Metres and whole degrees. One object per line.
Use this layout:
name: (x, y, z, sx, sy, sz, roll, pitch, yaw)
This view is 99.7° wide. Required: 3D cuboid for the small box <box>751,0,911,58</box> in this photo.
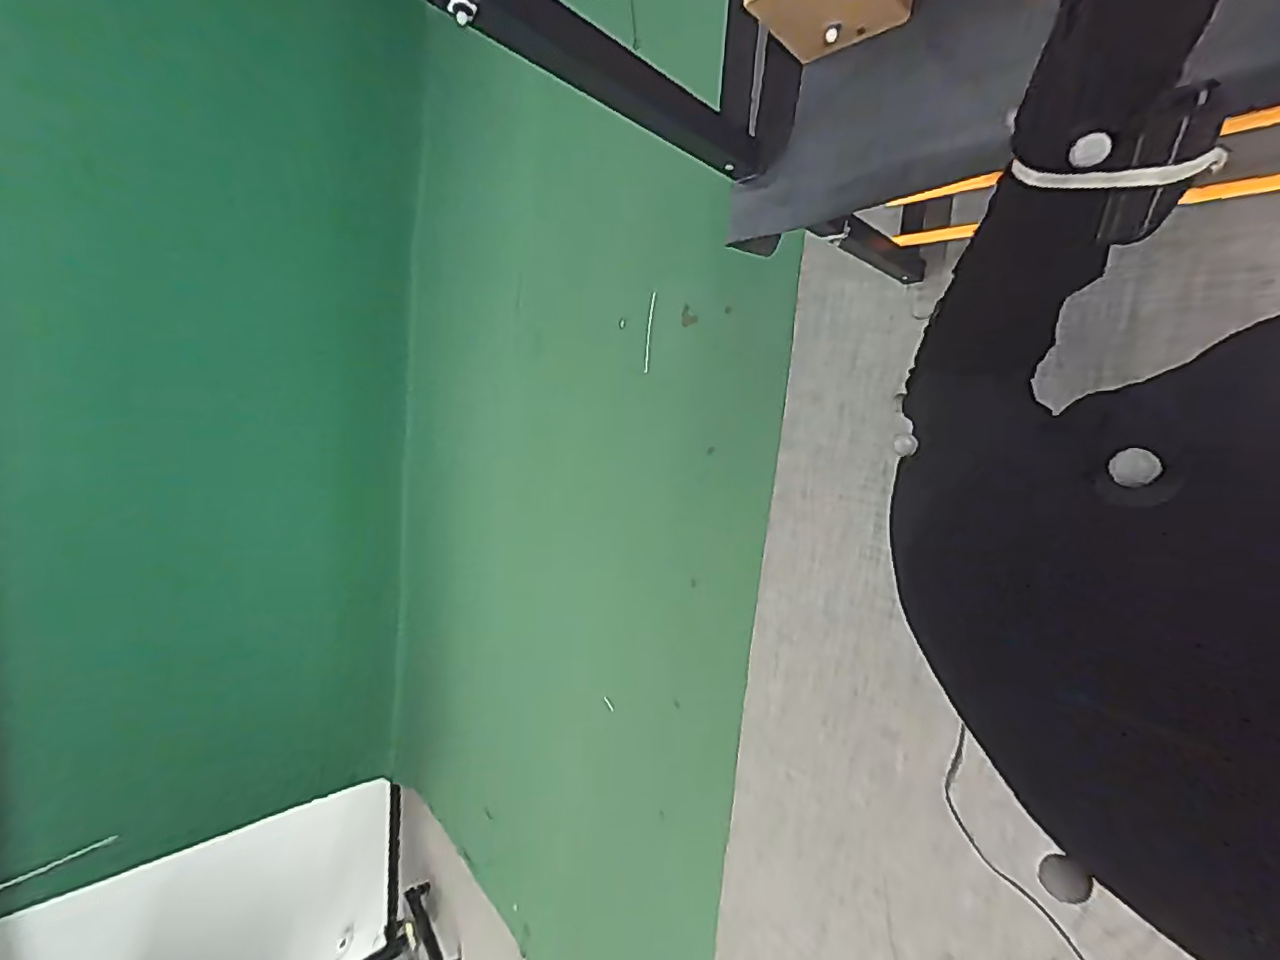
small box: (0.268, -0.735, 0.736, 0.168, 0.176, 0.179, 14, 102, 46)
